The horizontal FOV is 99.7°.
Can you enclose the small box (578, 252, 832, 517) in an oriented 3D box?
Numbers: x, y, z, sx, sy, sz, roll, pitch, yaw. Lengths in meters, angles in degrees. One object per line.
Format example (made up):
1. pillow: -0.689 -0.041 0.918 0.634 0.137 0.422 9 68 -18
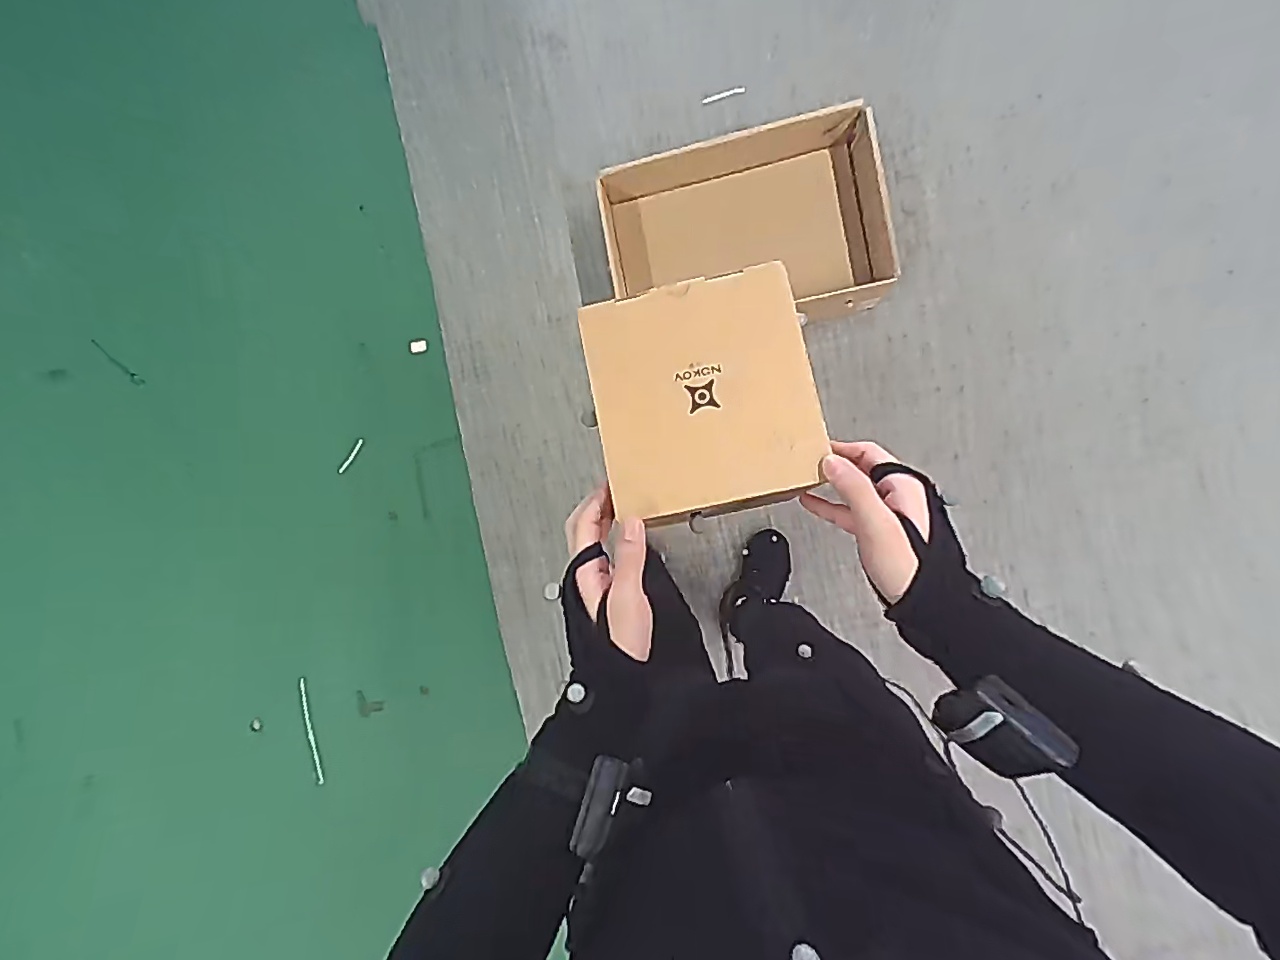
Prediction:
1. small box: 0.054 -0.065 0.483 0.168 0.176 0.179 -11 81 4
